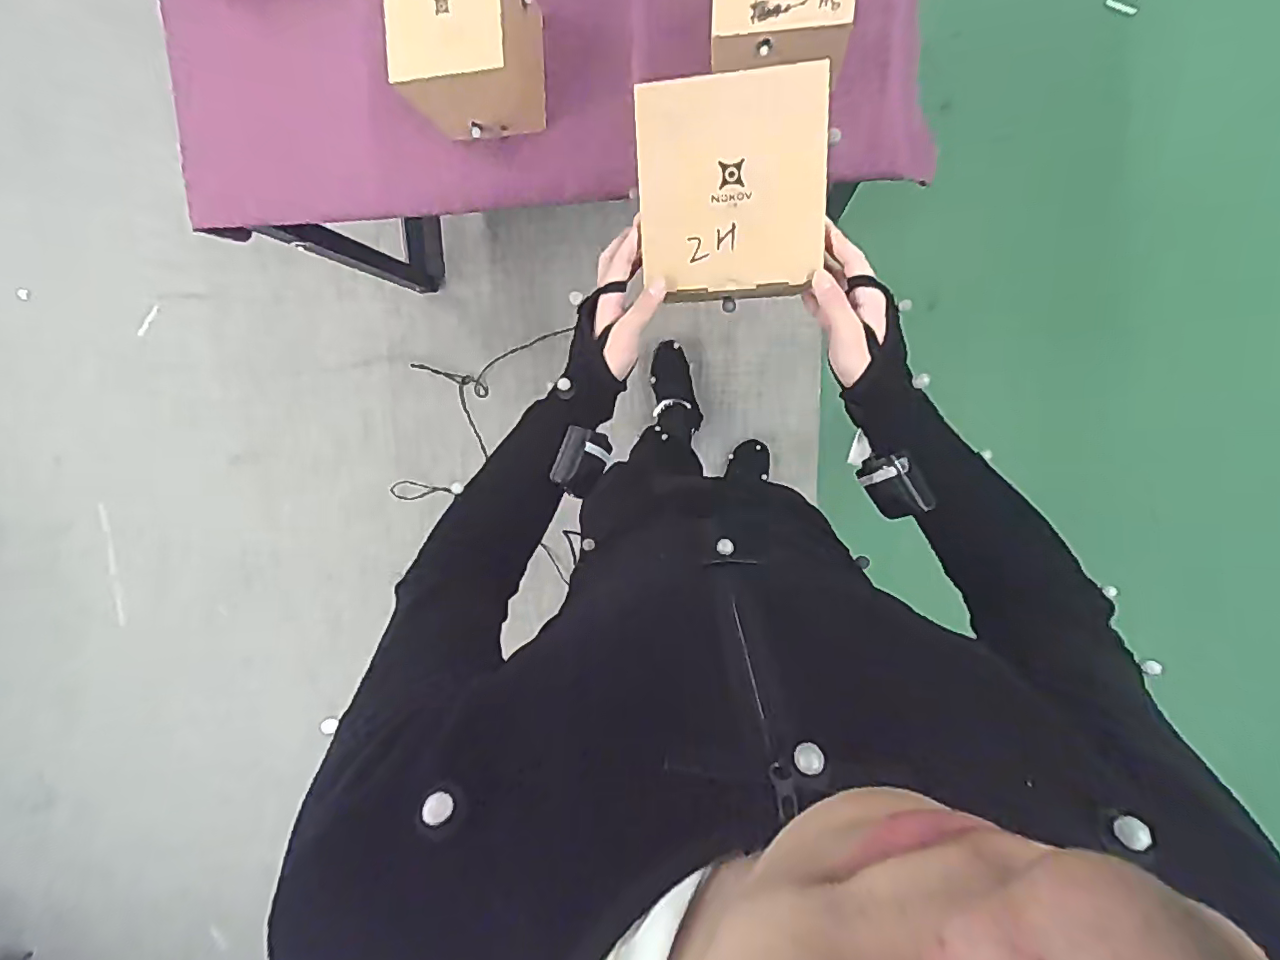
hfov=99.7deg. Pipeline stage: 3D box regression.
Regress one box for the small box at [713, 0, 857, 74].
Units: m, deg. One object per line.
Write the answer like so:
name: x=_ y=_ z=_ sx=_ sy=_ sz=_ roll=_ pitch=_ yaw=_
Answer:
small box: x=0.181 y=-0.622 z=0.699 sx=0.168 sy=0.176 sz=0.179 roll=2 pitch=96 yaw=9

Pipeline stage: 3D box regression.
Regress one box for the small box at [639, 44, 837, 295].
small box: x=0.092 y=-0.286 z=0.541 sx=0.168 sy=0.176 sz=0.179 roll=0 pitch=105 yaw=9

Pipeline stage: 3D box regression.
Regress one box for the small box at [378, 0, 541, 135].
small box: x=-0.244 y=-0.624 z=0.762 sx=0.168 sy=0.176 sz=0.179 roll=1 pitch=97 yaw=9
